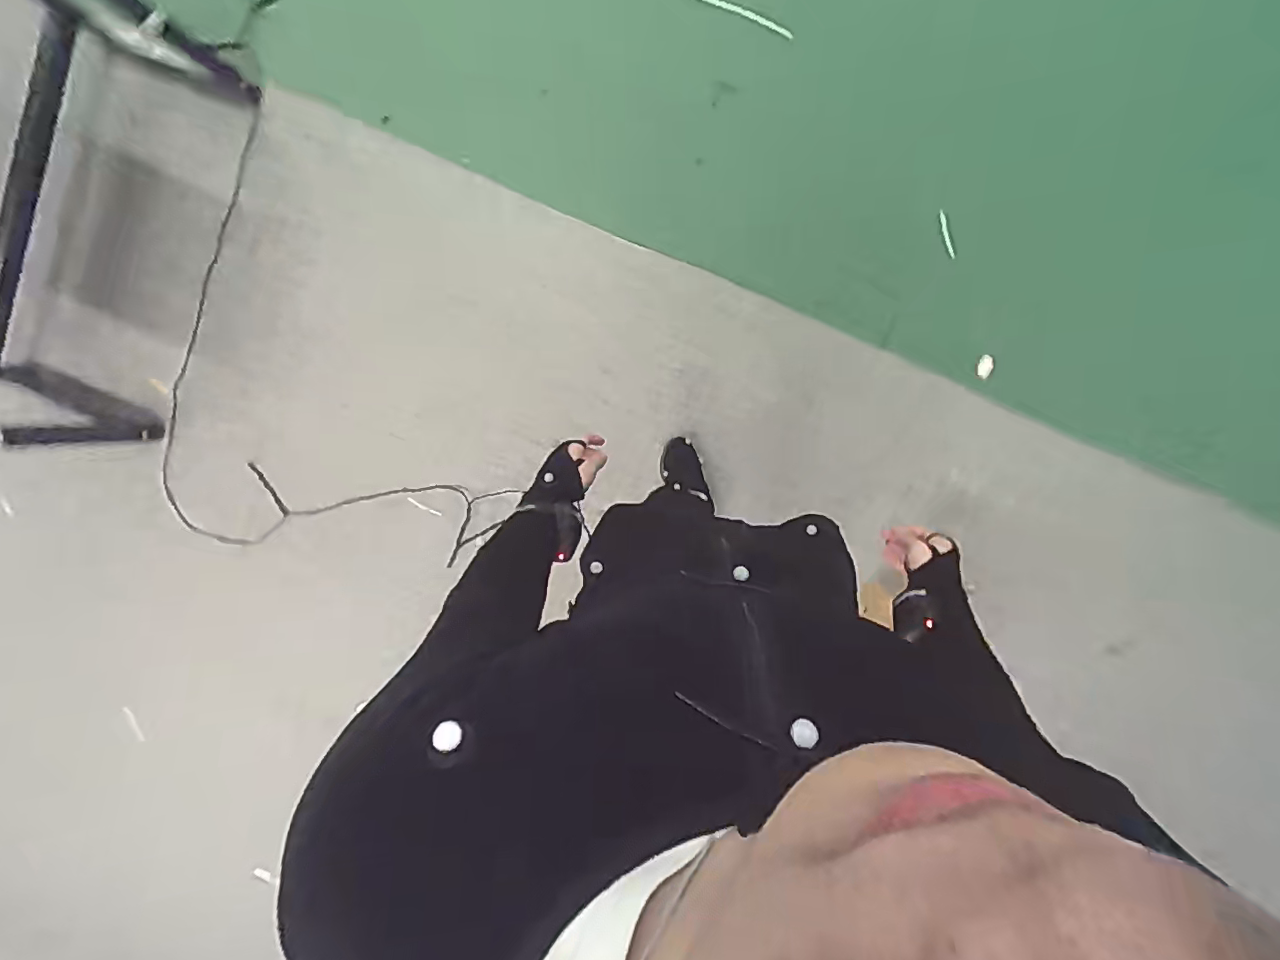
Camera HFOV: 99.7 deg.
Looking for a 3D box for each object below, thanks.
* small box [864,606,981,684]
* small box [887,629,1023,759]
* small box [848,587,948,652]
[{"bbox_3d":[0.688,0.433,1.343,0.179,0.176,0.168,25,99,3],"label":"small box"},{"bbox_3d":[0.673,0.454,1.181,0.168,0.176,0.179,26,97,4],"label":"small box"},{"bbox_3d":[0.708,0.416,1.503,0.179,0.176,0.168,28,99,4],"label":"small box"}]
